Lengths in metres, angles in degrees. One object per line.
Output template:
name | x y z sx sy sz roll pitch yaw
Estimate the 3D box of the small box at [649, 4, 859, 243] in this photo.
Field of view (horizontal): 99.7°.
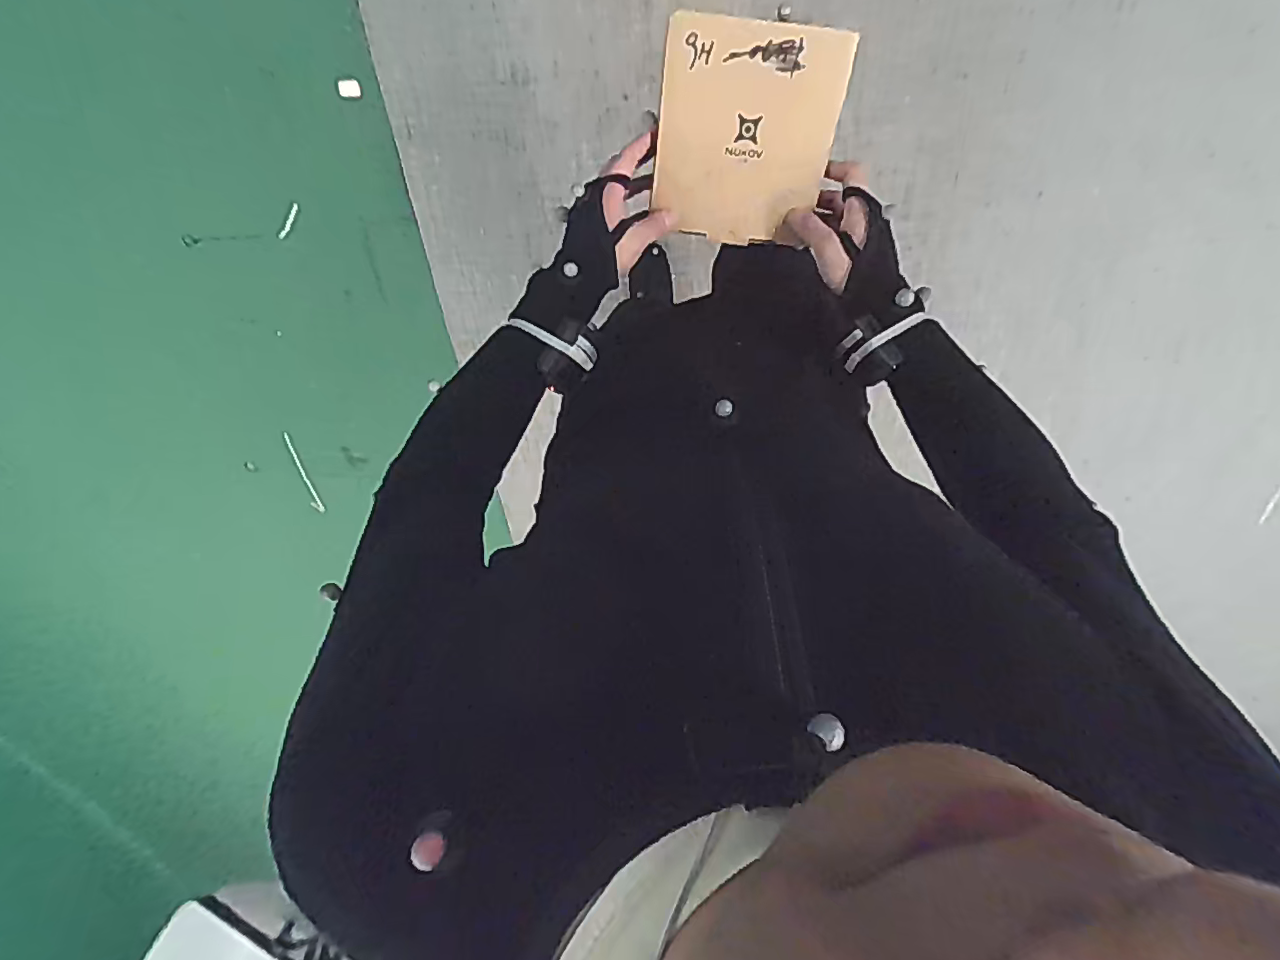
small box | 0.102 -0.373 0.572 0.168 0.176 0.179 5 128 -3
